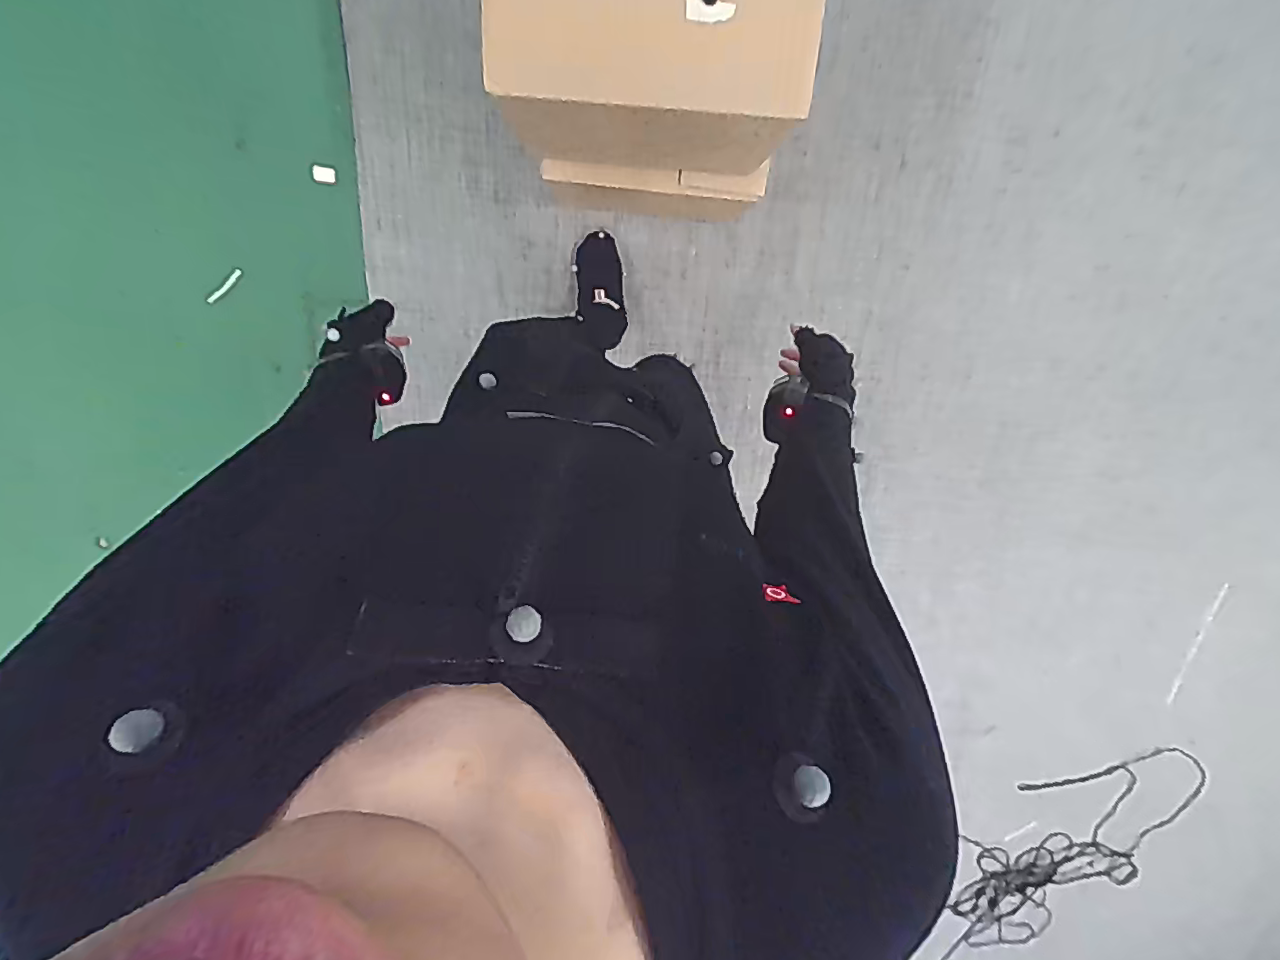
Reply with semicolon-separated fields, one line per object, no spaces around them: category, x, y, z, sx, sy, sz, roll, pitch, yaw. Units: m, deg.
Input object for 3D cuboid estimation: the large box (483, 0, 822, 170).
large box;0.013;-0.655;0.757;0.408;0.320;0.320;3;107;-3
